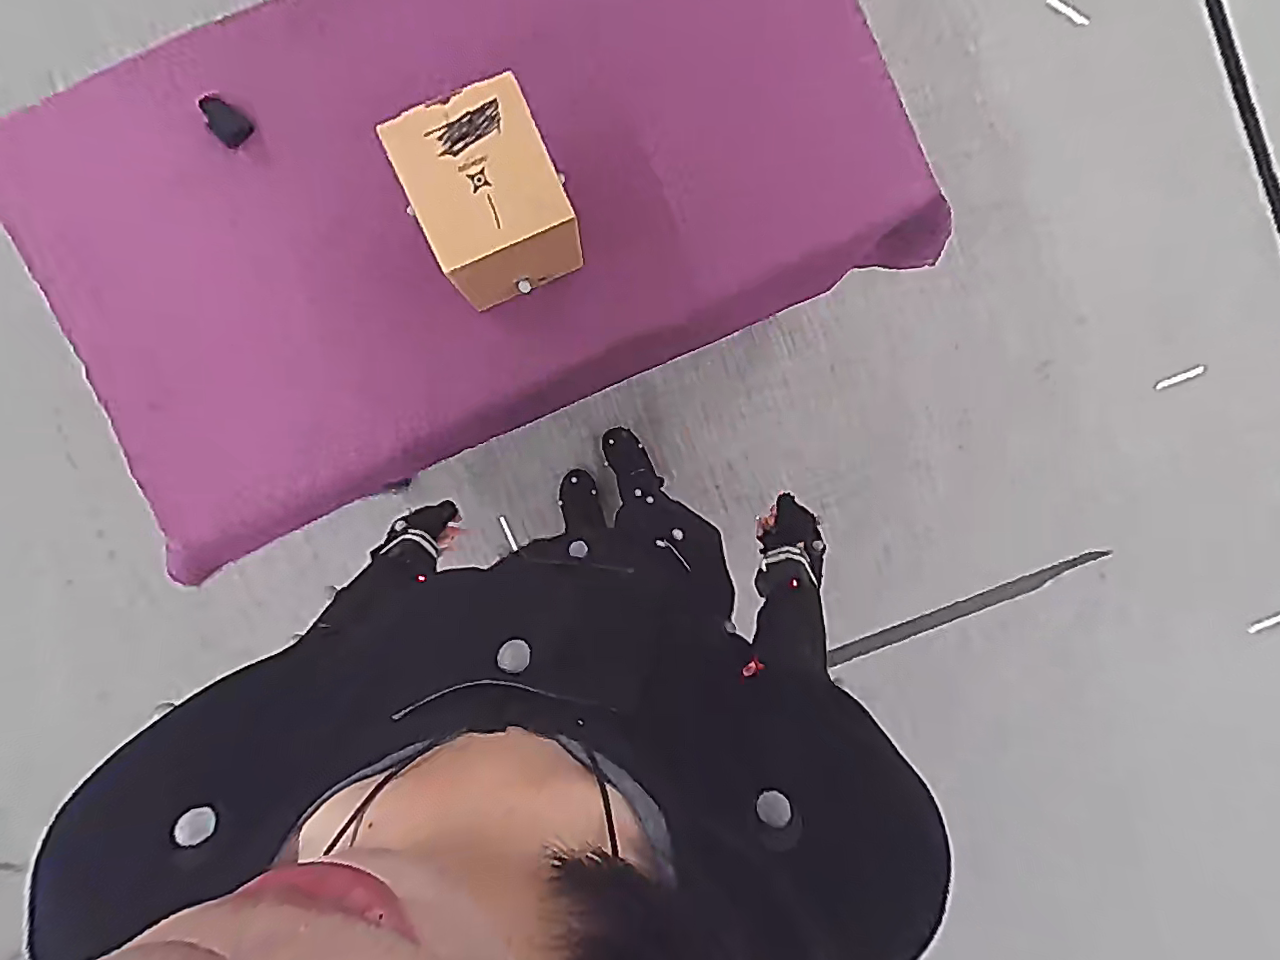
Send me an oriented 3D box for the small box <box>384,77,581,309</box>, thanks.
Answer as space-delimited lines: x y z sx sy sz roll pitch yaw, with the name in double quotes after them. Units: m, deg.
-0.185 -0.347 0.689 0.168 0.176 0.179 -25 94 -1 "small box"
